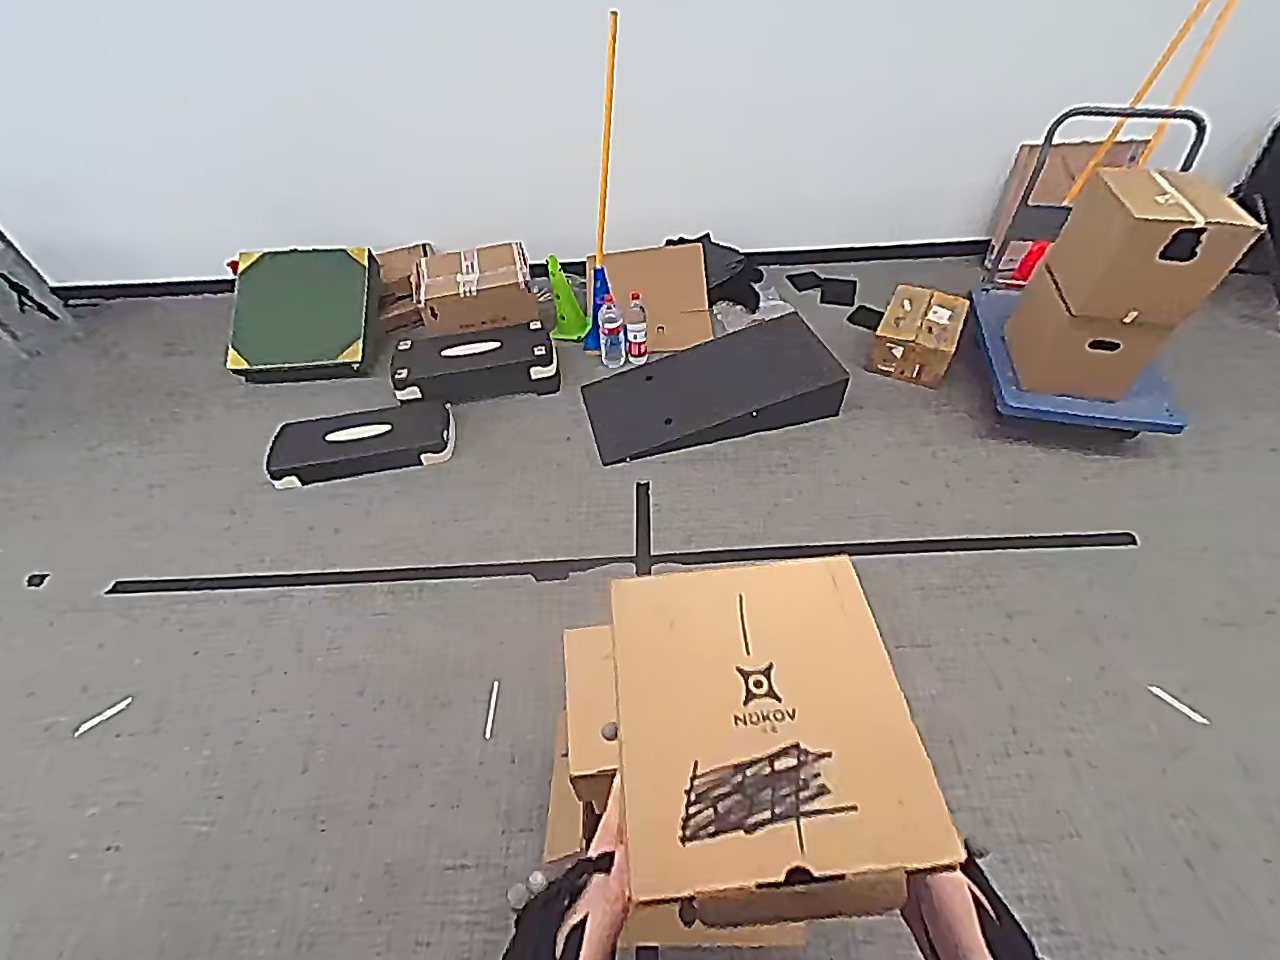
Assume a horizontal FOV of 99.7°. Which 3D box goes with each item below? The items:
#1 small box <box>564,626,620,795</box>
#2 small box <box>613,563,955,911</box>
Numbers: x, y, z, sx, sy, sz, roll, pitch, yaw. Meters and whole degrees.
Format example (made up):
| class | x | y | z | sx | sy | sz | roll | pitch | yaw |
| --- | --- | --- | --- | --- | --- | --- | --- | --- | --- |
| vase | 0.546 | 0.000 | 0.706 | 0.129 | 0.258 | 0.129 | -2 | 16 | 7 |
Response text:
| class | x | y | z | sx | sy | sz | roll | pitch | yaw |
| --- | --- | --- | --- | --- | --- | --- | --- | --- | --- |
| small box | -0.011 | 0.307 | 0.722 | 0.168 | 0.176 | 0.179 | -5 | 51 | -6 |
| small box | 0.072 | 0.180 | 0.376 | 0.168 | 0.176 | 0.179 | -5 | 51 | -1 |
